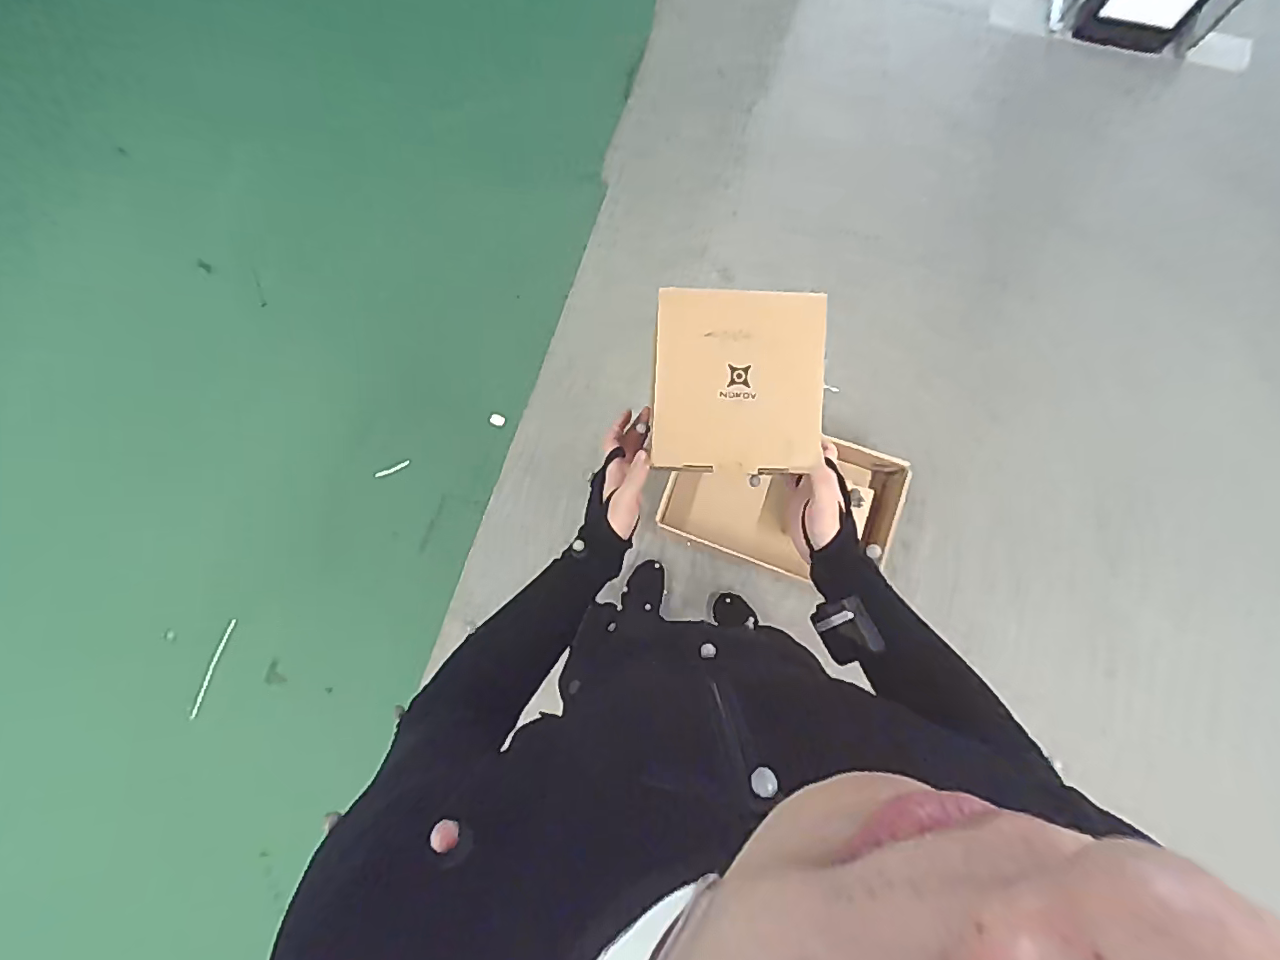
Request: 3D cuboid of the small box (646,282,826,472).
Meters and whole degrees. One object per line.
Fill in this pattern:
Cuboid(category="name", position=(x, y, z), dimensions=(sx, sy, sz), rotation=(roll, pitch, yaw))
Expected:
Cuboid(category="small box", position=(0.092, -0.099, 0.594), dimensions=(0.168, 0.176, 0.179), rotation=(2, 90, 0))
